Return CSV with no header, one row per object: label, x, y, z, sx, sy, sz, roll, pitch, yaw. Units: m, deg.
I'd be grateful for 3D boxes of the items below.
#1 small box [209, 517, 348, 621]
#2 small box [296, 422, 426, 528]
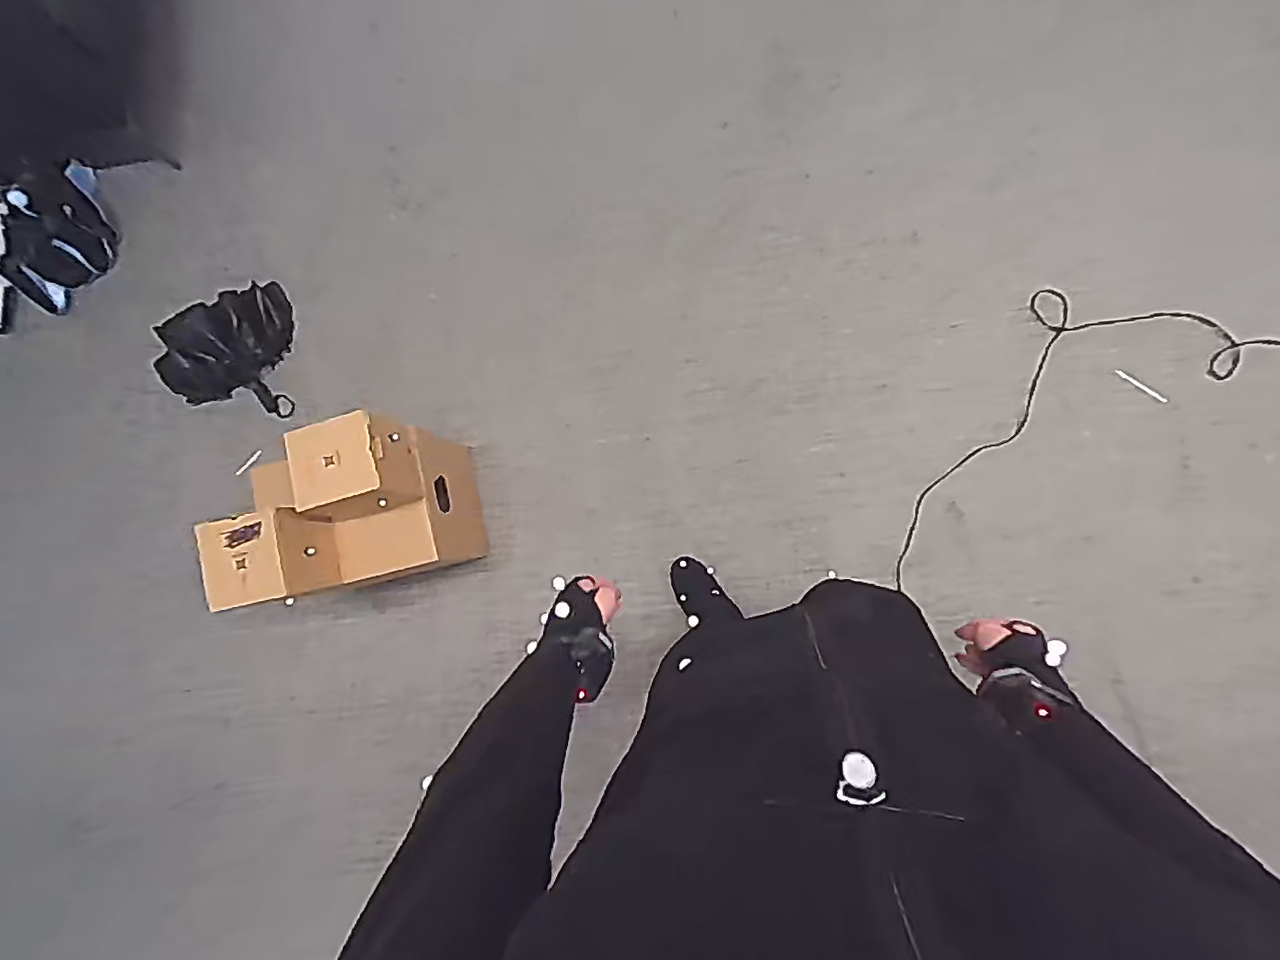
small box,-0.744,0.180,1.127,0.168,0.176,0.179,-13,85,5
small box,-0.572,-0.003,1.132,0.179,0.176,0.168,-17,78,5
